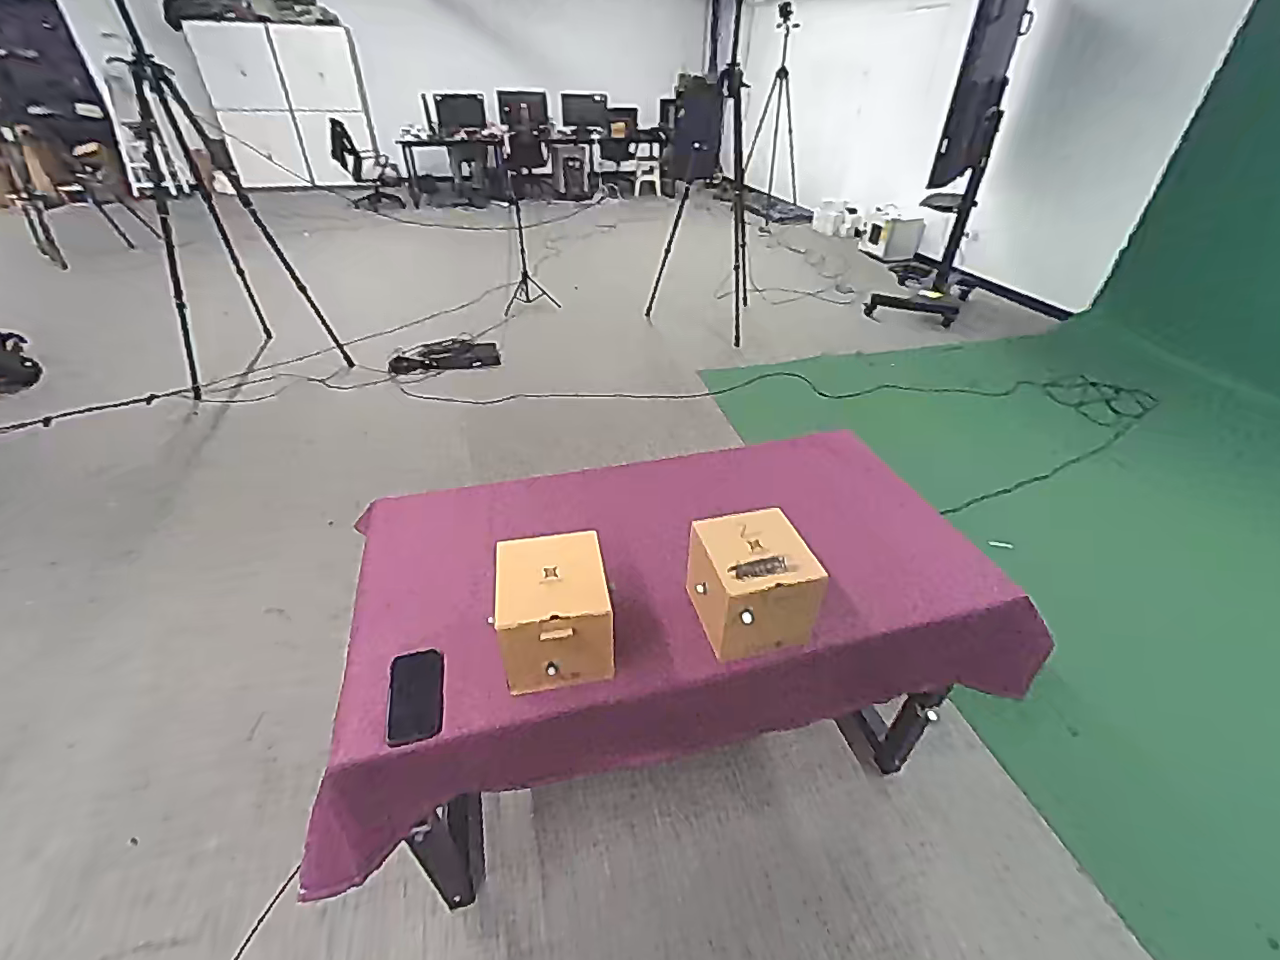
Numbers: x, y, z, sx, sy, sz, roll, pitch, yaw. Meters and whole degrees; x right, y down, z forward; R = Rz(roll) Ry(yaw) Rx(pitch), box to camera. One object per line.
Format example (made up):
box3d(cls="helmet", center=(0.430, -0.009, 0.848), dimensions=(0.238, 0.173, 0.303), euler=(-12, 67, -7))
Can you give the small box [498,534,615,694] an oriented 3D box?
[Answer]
box3d(cls="small box", center=(-0.135, 0.213, 0.872), dimensions=(0.168, 0.176, 0.179), euler=(-5, 38, -10))
